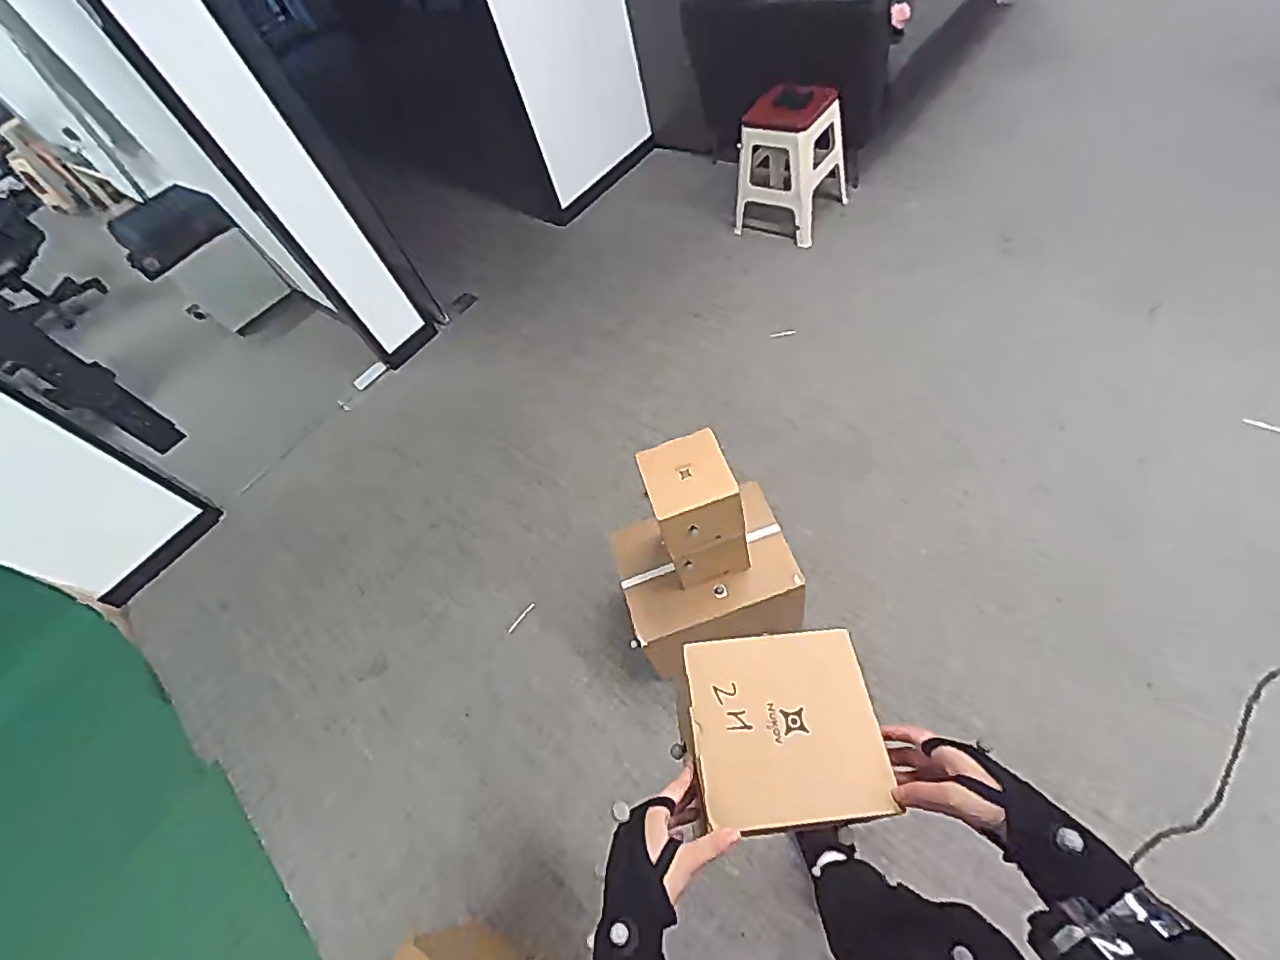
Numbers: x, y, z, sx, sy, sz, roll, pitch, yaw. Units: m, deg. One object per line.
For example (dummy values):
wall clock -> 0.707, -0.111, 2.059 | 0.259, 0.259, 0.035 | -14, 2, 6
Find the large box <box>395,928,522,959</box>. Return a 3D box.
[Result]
large box -> -0.350, 1.132, 0.971 | 0.320, 0.320, 0.408 | 15, 62, 26

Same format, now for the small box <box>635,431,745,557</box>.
small box -> 0.105, 0.037, 1.107 | 0.168, 0.176, 0.179 | -20, 51, 2

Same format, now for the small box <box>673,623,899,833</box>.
small box -> 0.133, 0.265, 0.571 | 0.179, 0.176, 0.168 | -5, 54, -2
